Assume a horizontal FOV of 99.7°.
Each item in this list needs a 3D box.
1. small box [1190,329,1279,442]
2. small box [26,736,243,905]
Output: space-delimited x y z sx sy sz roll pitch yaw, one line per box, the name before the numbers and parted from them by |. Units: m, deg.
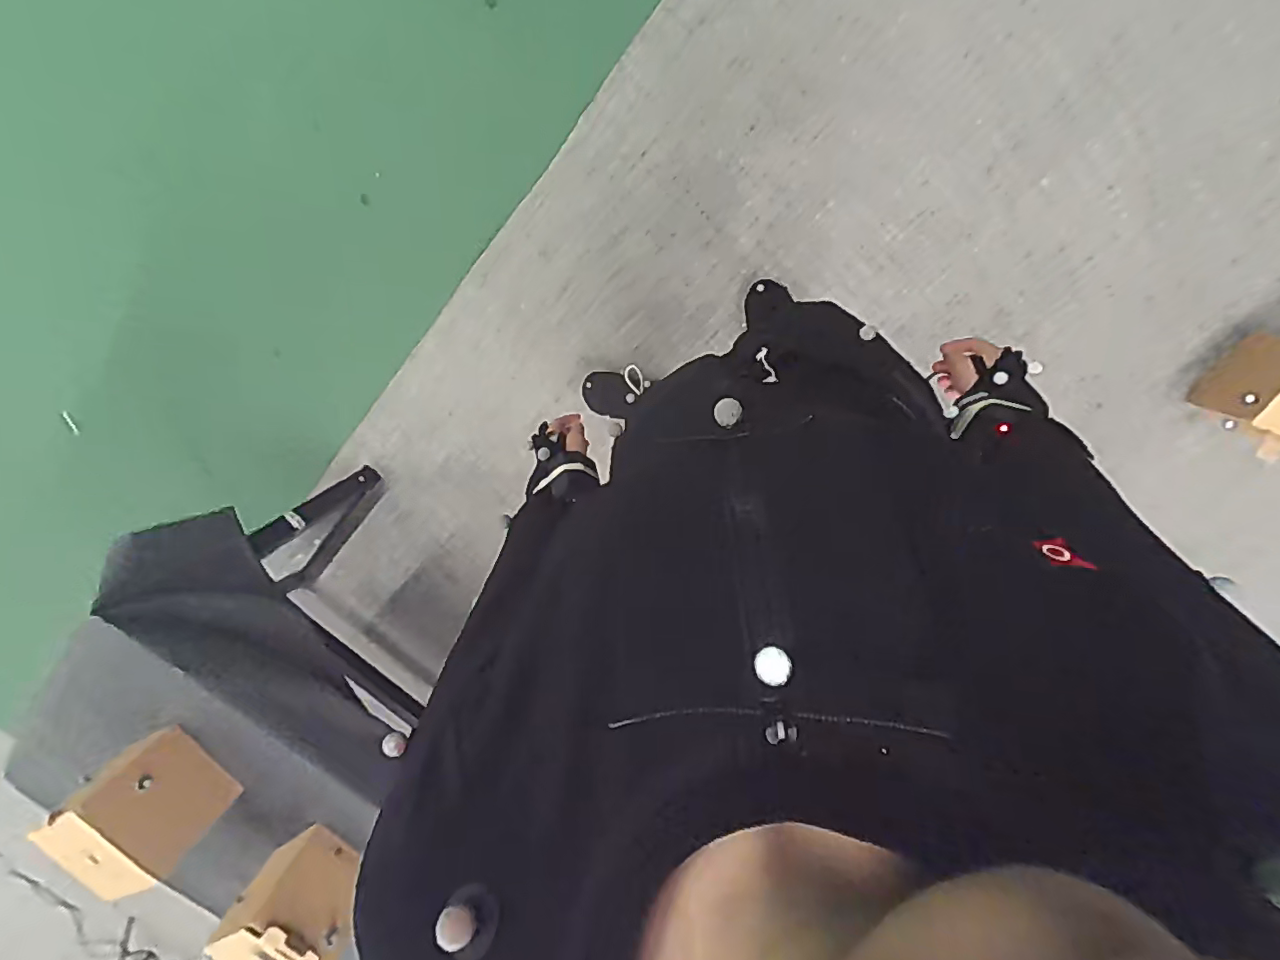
small box | 1.274 -0.181 1.067 0.168 0.176 0.179 24 115 -1
small box | -0.840 0.565 0.916 0.168 0.176 0.179 -29 106 20
